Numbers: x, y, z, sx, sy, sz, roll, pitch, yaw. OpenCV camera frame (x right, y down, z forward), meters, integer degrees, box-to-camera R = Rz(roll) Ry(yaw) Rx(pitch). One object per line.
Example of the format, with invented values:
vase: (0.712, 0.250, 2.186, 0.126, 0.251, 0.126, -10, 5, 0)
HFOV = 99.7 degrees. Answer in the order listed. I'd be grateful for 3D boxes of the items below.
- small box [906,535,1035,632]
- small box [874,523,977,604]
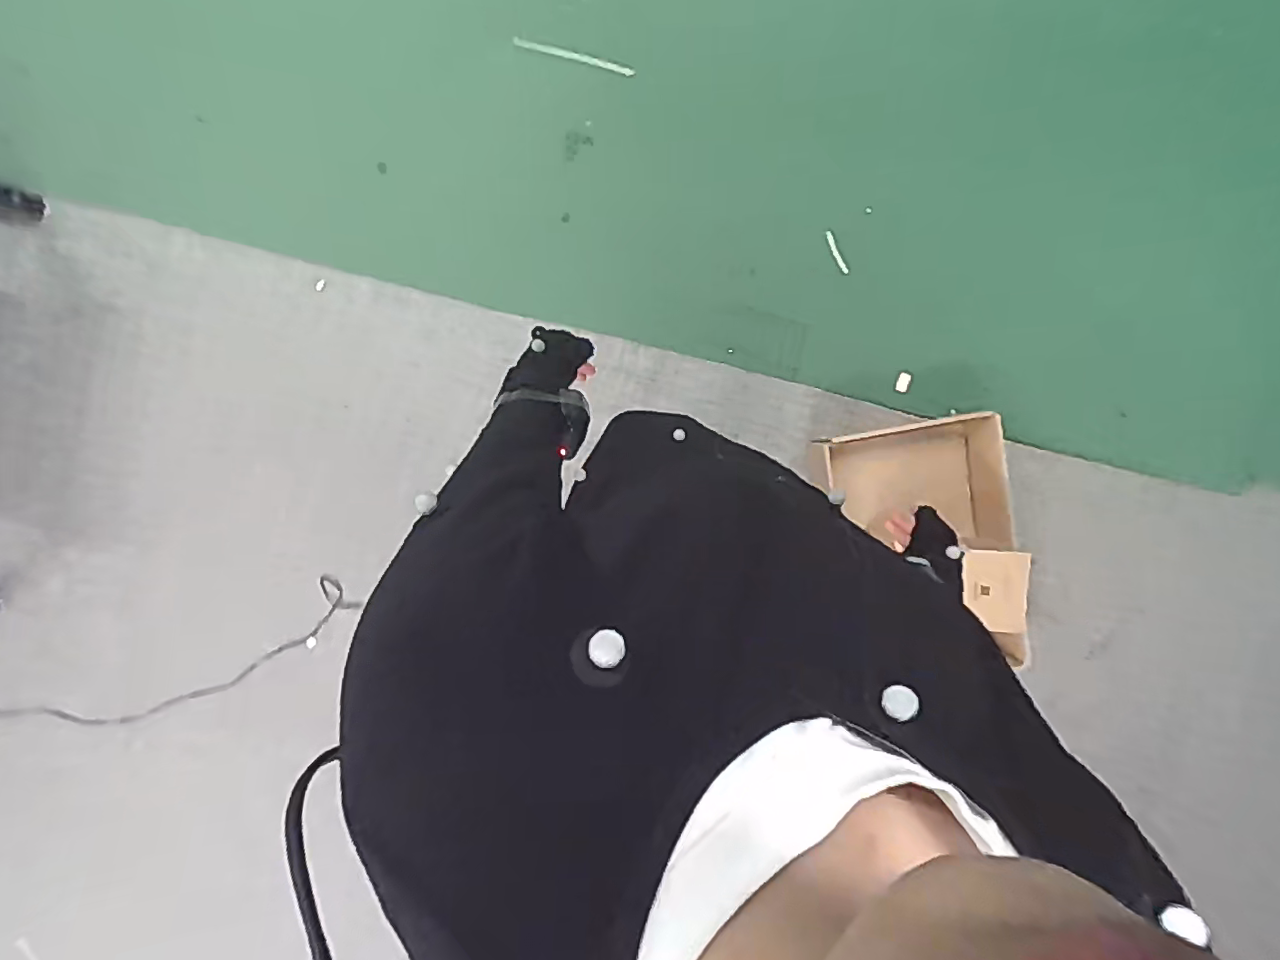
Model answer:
small box: (0.690, 0.213, 1.149, 0.179, 0.176, 0.168, 2, 95, 0)
small box: (0.683, 0.198, 1.311, 0.179, 0.176, 0.168, -2, 93, 1)
